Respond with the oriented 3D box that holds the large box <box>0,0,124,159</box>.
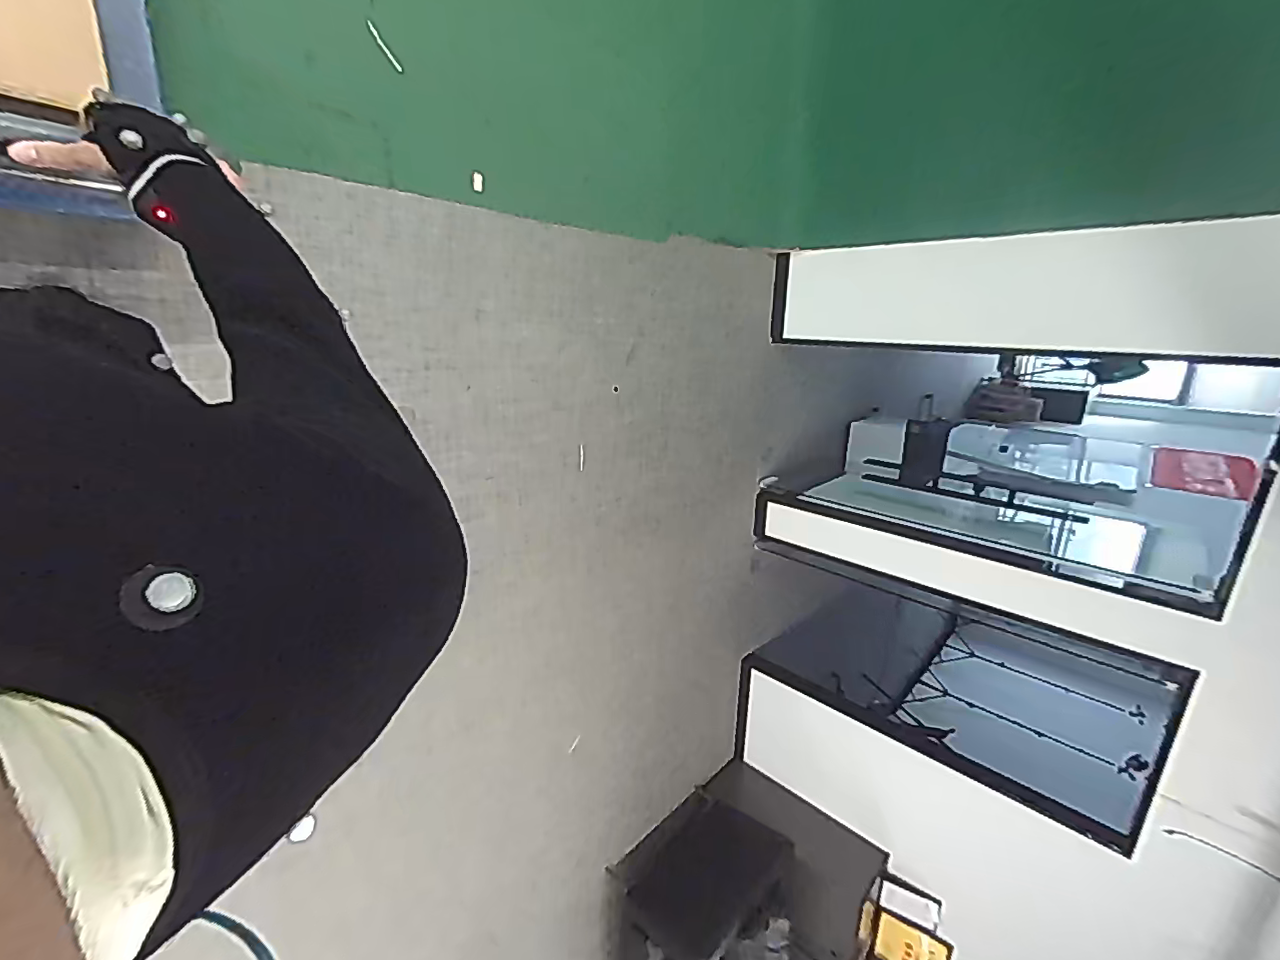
[{"bbox_3d":[-0.959,-0.714,0.726,0.320,0.320,0.408,-14,111,-46],"label":"large box"}]
